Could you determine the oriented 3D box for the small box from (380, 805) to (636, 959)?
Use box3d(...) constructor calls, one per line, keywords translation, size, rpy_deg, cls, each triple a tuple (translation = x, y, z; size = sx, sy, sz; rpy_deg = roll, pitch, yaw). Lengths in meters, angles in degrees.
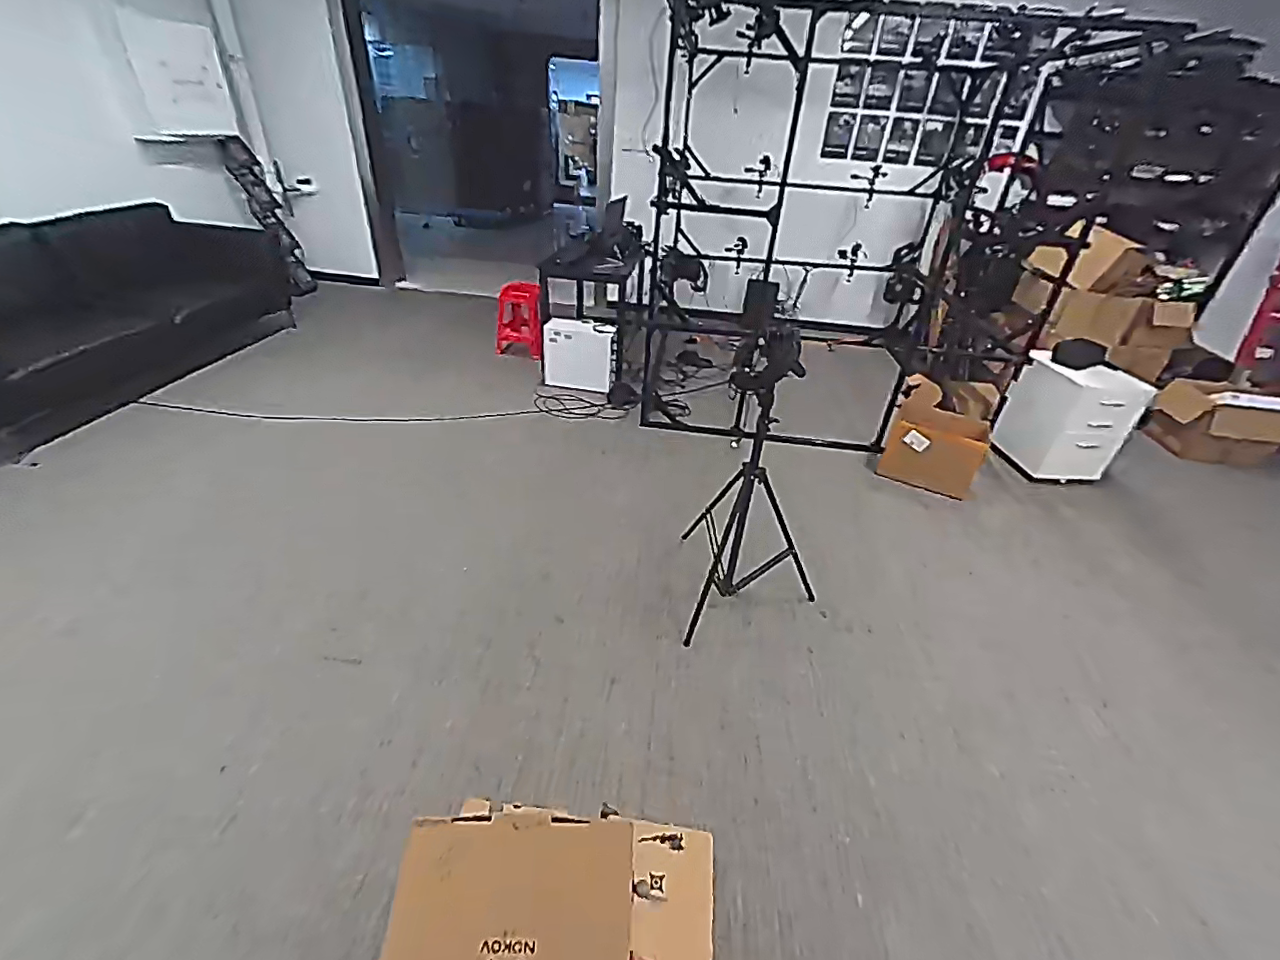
box3d(translation=(-0.089, 0.361, 0.414), size=(0.168, 0.176, 0.179), rpy_deg=(2, 55, 0), cls="small box")
